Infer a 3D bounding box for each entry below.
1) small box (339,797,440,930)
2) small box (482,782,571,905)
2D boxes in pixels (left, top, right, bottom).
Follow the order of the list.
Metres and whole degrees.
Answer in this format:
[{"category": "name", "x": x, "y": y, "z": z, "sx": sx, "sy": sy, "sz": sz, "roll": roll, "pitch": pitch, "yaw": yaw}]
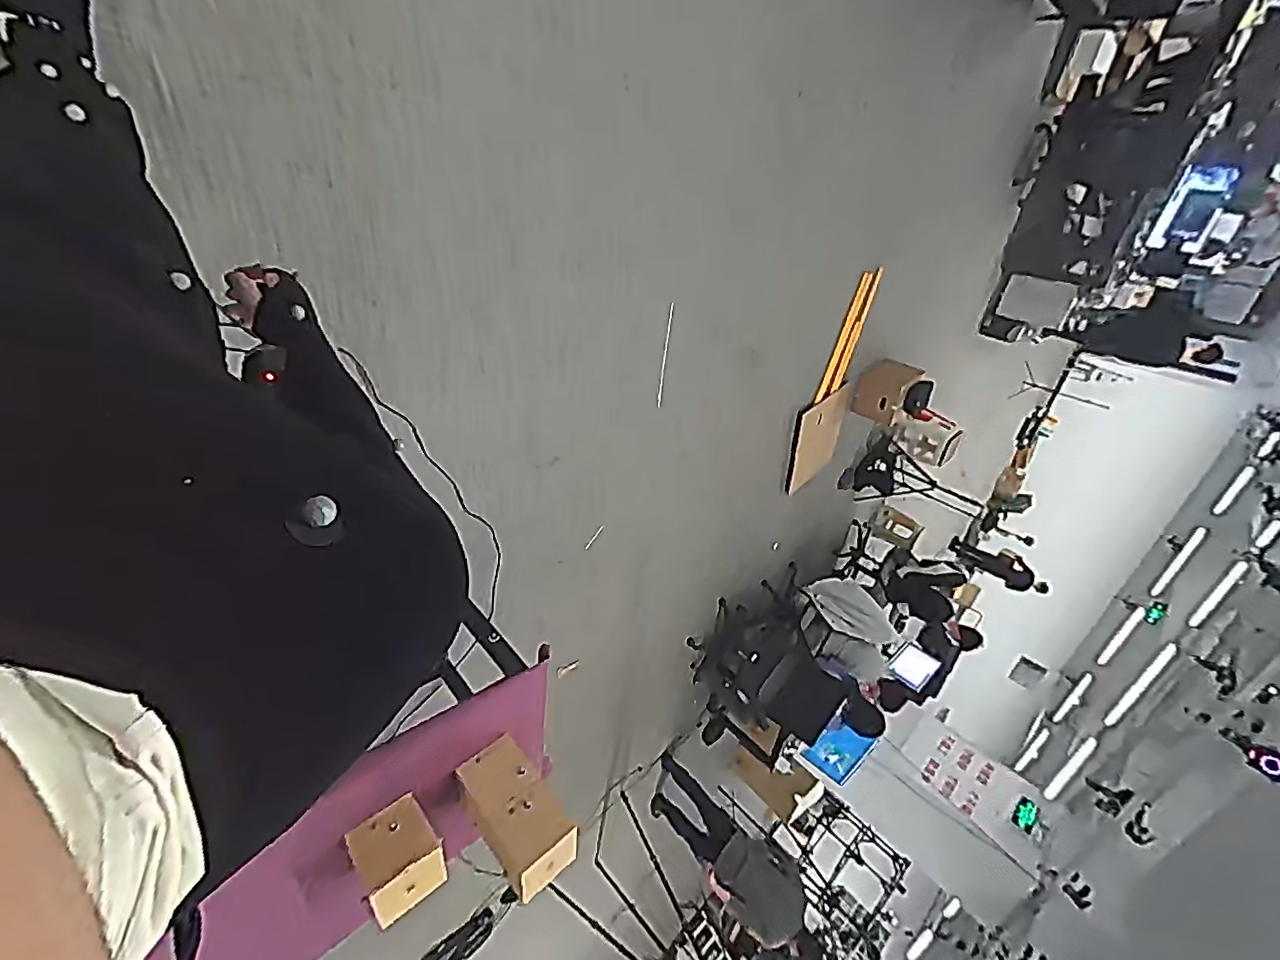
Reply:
[{"category": "small box", "x": -0.610, "y": 0.926, "z": 1.320, "sx": 0.168, "sy": 0.176, "sz": 0.179, "roll": -22, "pitch": 131, "yaw": -38}, {"category": "small box", "x": -0.296, "y": 0.935, "z": 1.406, "sx": 0.168, "sy": 0.176, "sz": 0.179, "roll": -23, "pitch": 132, "yaw": -38}]
